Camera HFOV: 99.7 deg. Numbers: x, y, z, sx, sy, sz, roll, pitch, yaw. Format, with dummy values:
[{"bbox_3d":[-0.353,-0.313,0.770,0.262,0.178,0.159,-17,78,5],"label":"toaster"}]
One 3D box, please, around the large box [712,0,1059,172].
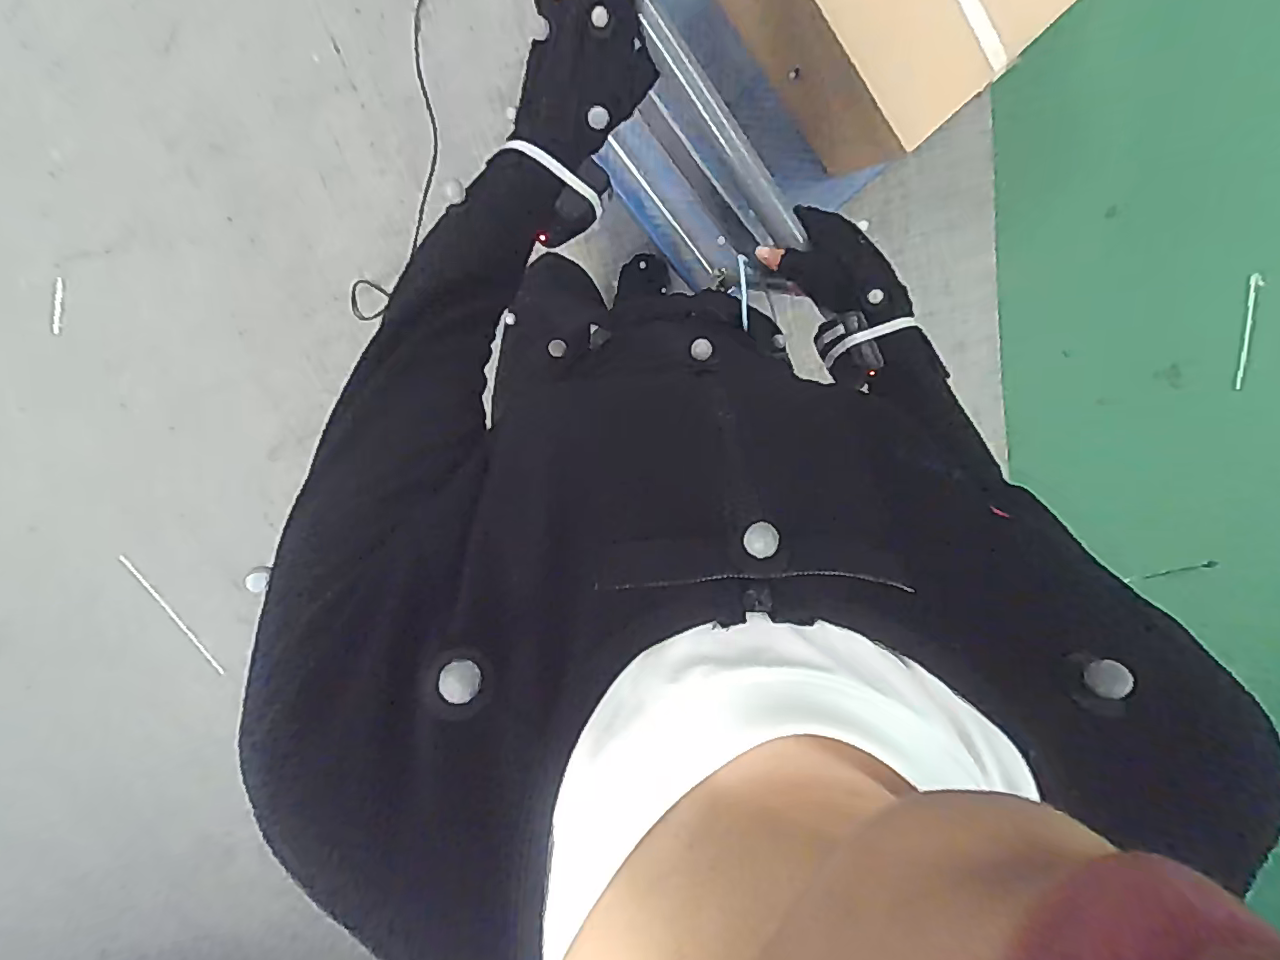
[{"bbox_3d":[0.371,-0.793,0.872,0.320,0.320,0.408,-42,108,13],"label":"large box"}]
